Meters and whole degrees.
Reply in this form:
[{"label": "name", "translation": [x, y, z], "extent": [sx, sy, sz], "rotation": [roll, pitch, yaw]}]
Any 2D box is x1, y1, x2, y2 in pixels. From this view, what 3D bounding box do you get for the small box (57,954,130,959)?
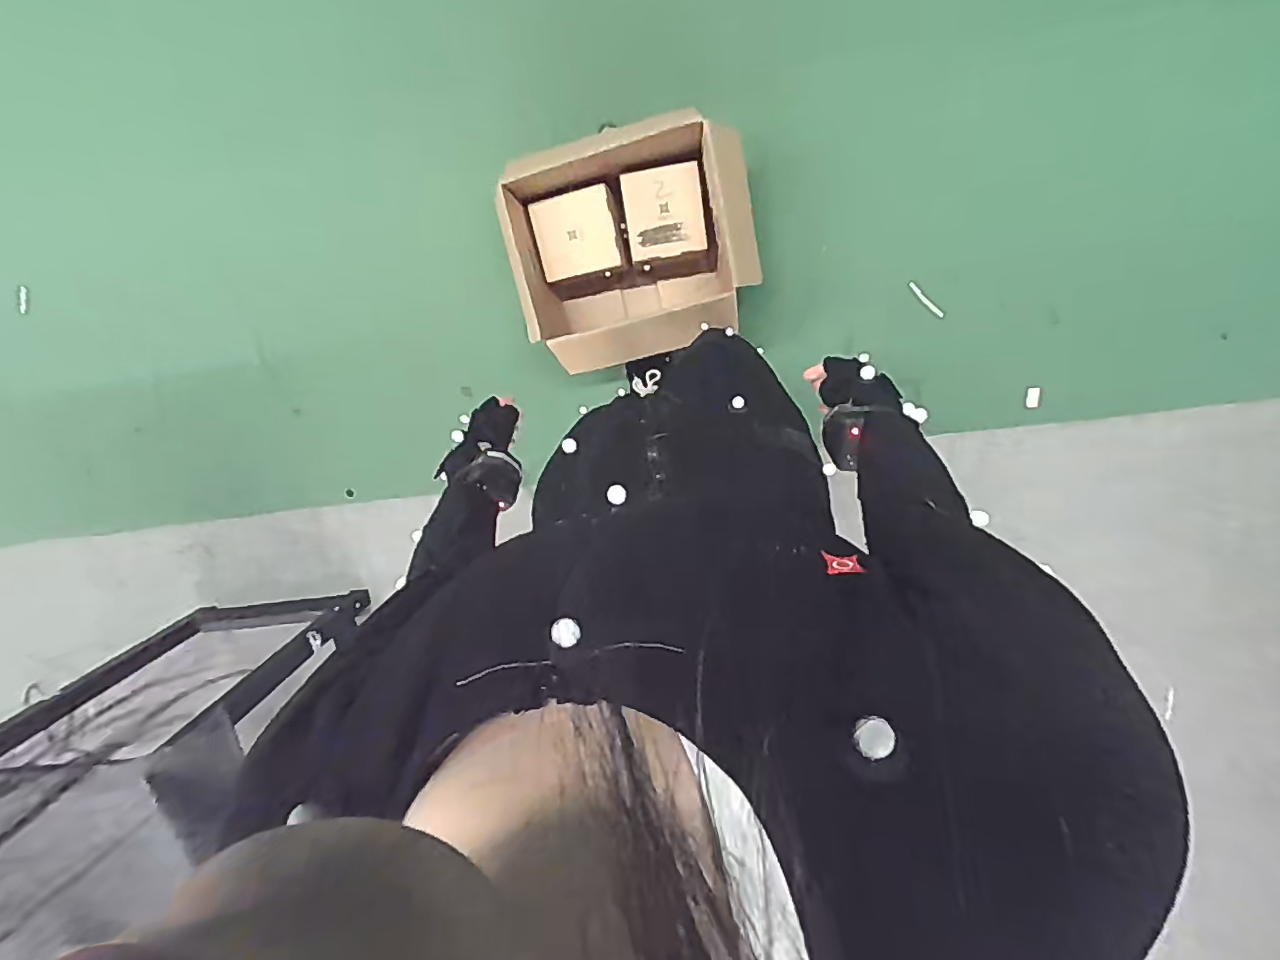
[{"label": "small box", "translation": [-1.086, 1.043, 1.022], "extent": [0.179, 0.176, 0.168], "rotation": [-7, 105, 7]}]
